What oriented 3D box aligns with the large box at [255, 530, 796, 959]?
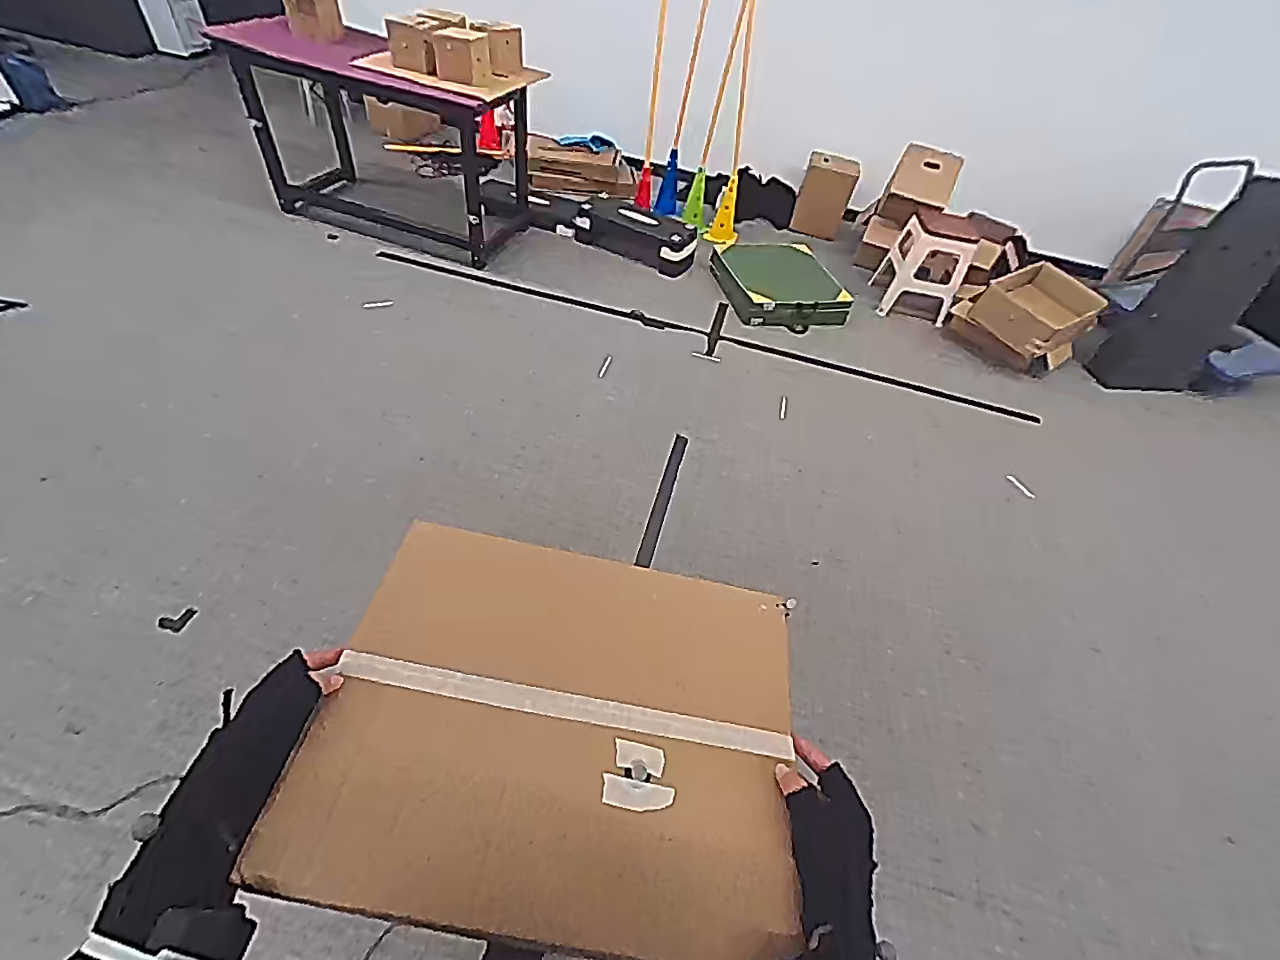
[{"bbox_3d":[-0.088,0.299,0.596,0.408,0.320,0.320,13,49,-3],"label":"large box"}]
